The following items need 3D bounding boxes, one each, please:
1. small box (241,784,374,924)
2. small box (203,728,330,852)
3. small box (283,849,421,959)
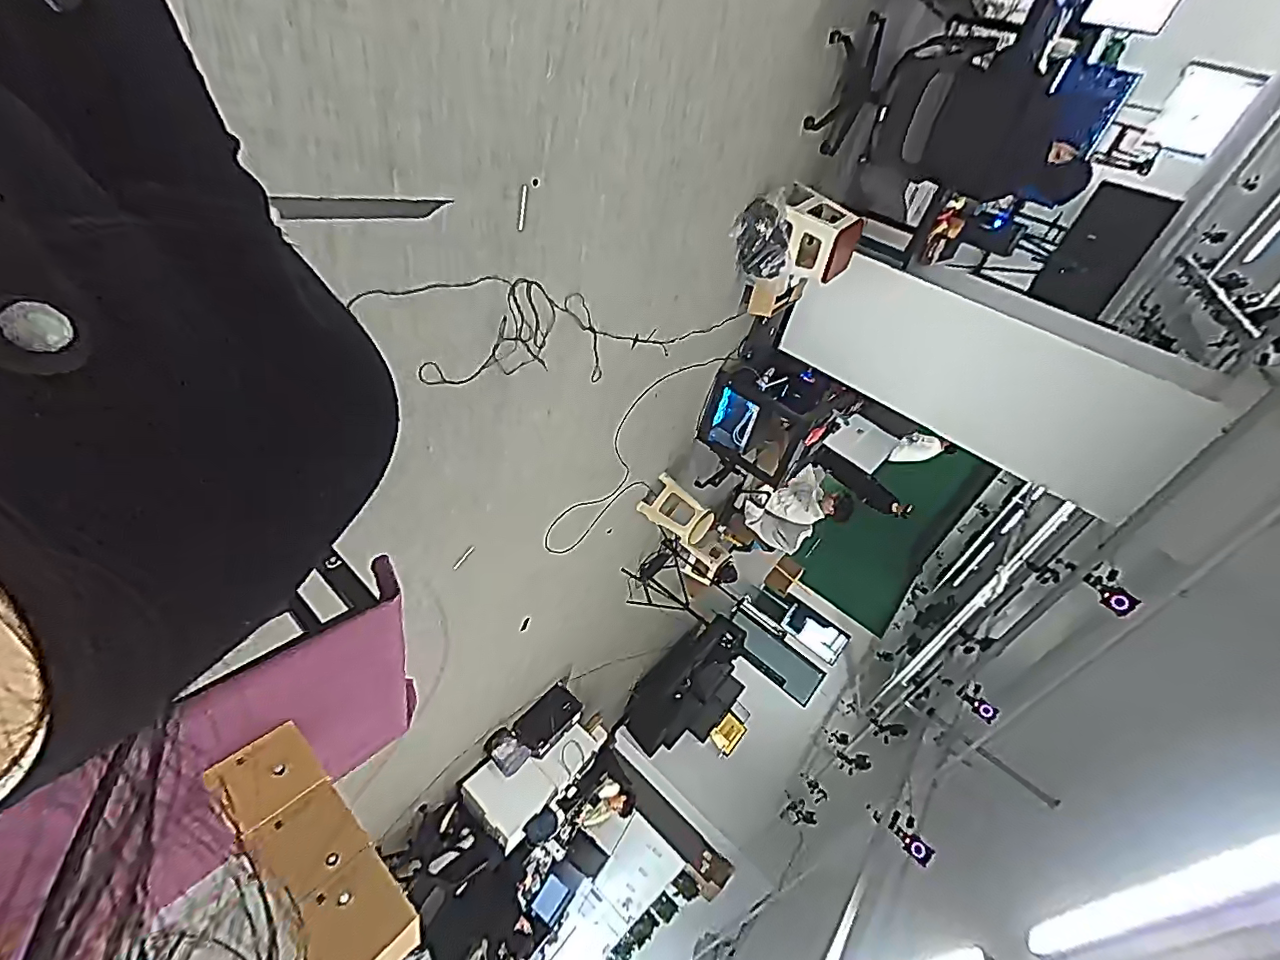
[{"bbox_3d":[-0.652,0.750,1.074,0.168,0.176,0.179,-30,148,-45],"label":"small box"},{"bbox_3d":[-0.773,0.657,1.133,0.168,0.176,0.179,-29,147,-45],"label":"small box"},{"bbox_3d":[-0.531,0.839,1.005,0.168,0.176,0.179,-29,146,-45],"label":"small box"}]
